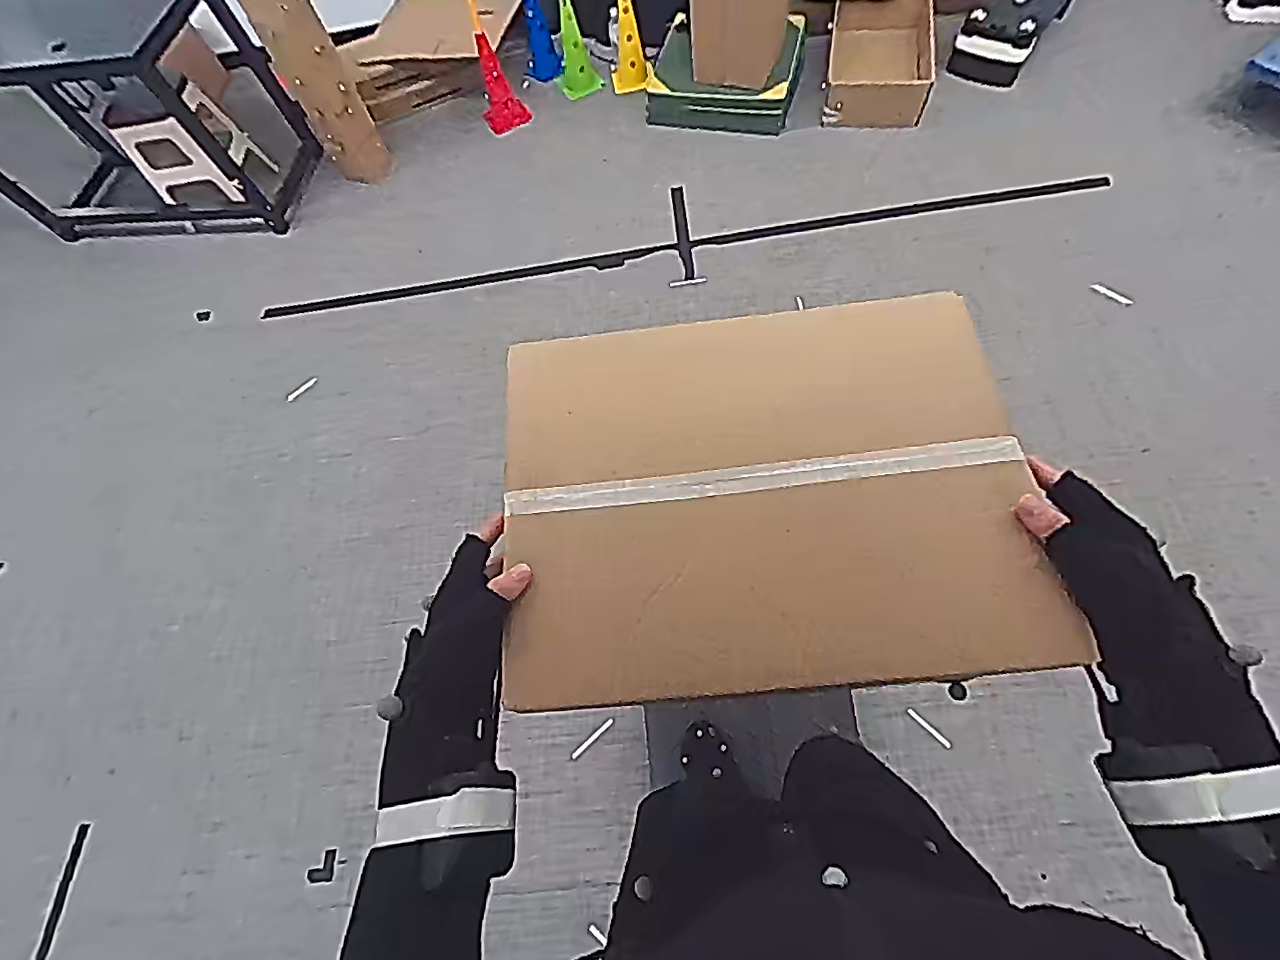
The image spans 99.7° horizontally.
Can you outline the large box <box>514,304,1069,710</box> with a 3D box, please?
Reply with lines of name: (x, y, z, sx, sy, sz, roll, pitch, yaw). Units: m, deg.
large box: (0.106, 0.057, 0.576, 0.408, 0.320, 0.320, -6, 67, 3)
